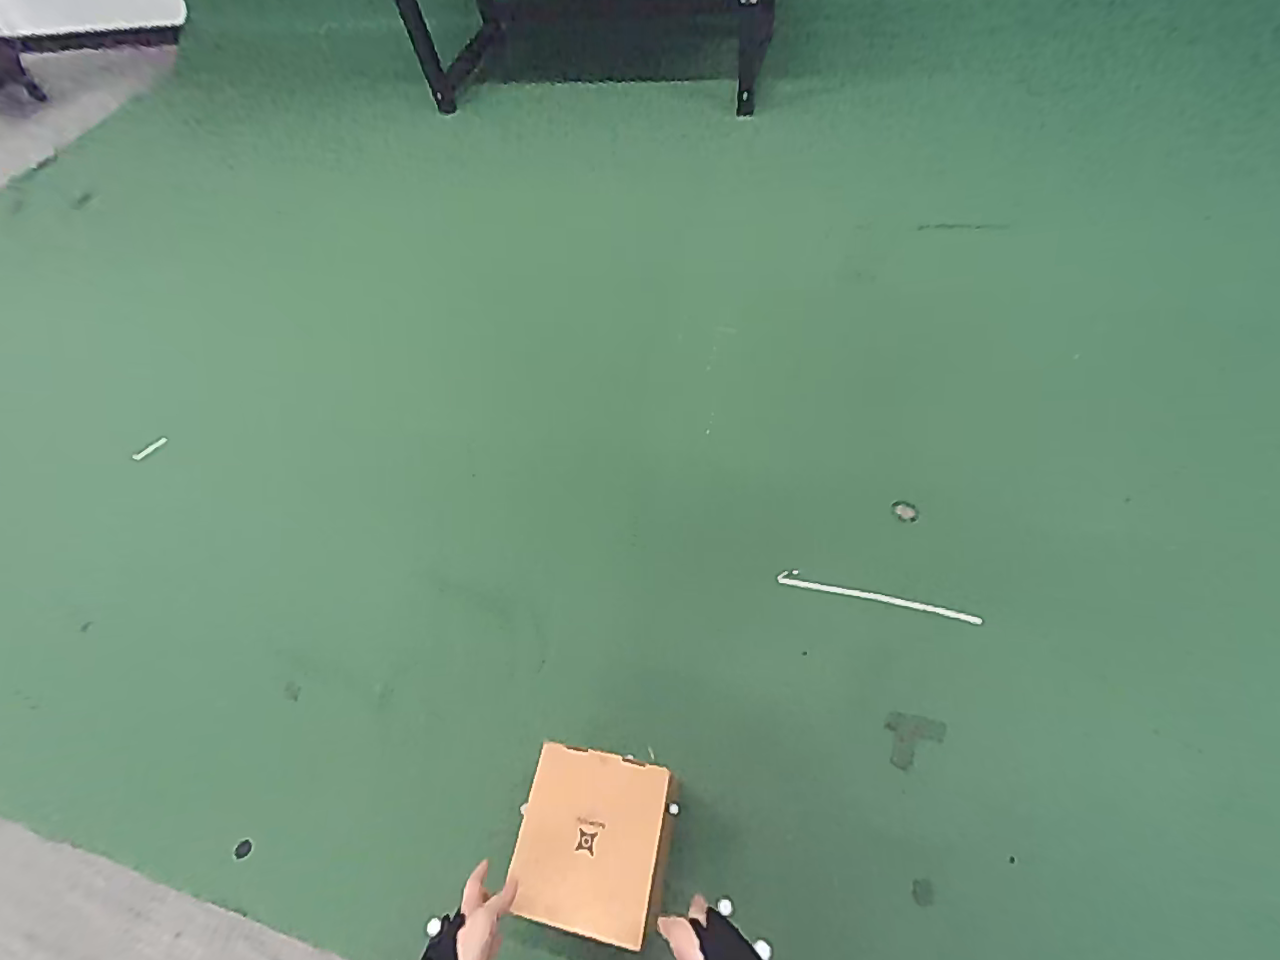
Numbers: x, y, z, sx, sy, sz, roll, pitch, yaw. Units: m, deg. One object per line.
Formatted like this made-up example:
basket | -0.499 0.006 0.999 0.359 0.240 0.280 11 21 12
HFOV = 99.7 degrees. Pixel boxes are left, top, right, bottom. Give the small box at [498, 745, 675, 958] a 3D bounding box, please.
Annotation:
small box | -0.052 0.460 0.690 0.168 0.176 0.179 7 58 12
